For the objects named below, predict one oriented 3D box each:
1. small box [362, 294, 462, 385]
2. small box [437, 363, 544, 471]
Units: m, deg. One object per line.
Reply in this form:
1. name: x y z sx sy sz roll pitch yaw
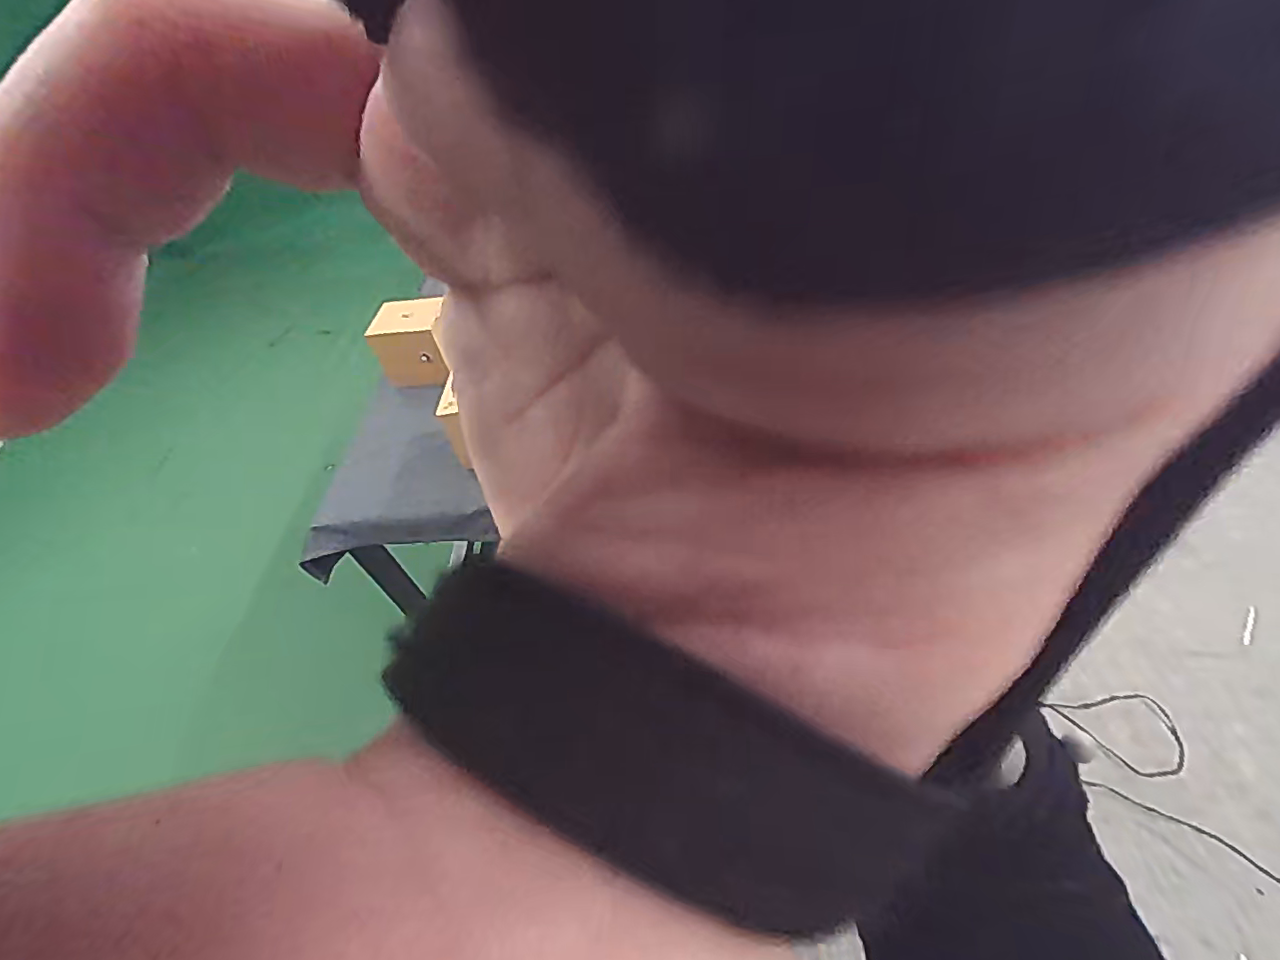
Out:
1. small box: -0.595 -0.371 1.441 0.179 0.176 0.168 -5 46 4
2. small box: -0.322 -0.138 1.206 0.179 0.176 0.168 -6 47 4
